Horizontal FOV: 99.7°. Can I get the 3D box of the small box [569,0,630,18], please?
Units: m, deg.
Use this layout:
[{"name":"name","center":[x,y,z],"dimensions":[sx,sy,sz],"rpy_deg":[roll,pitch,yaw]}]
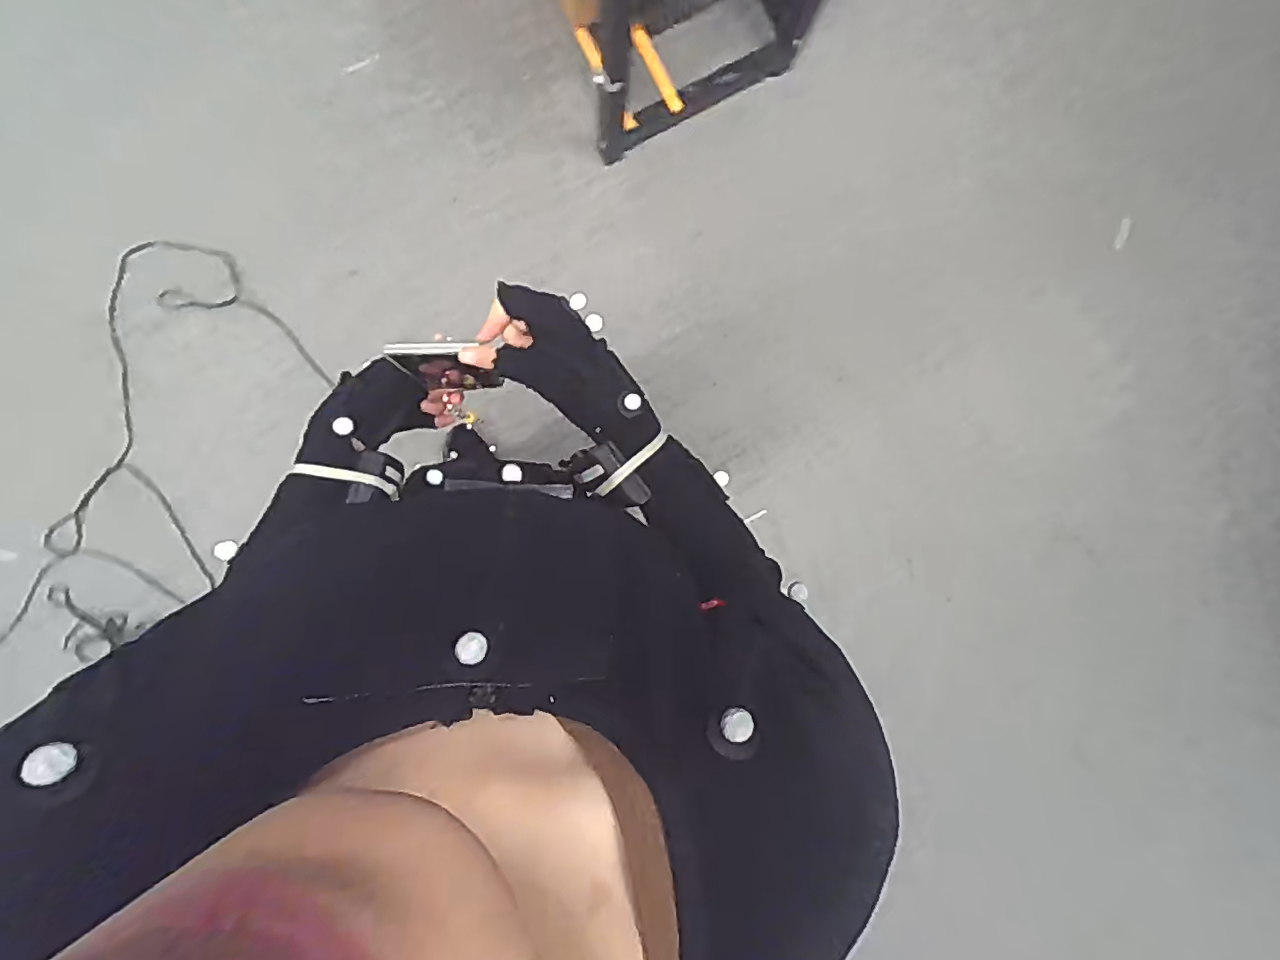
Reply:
[{"name":"small box","center":[-0.100,-1.197,1.209],"dimensions":[0.179,0.176,0.168],"rpy_deg":[-25,96,-2]}]
